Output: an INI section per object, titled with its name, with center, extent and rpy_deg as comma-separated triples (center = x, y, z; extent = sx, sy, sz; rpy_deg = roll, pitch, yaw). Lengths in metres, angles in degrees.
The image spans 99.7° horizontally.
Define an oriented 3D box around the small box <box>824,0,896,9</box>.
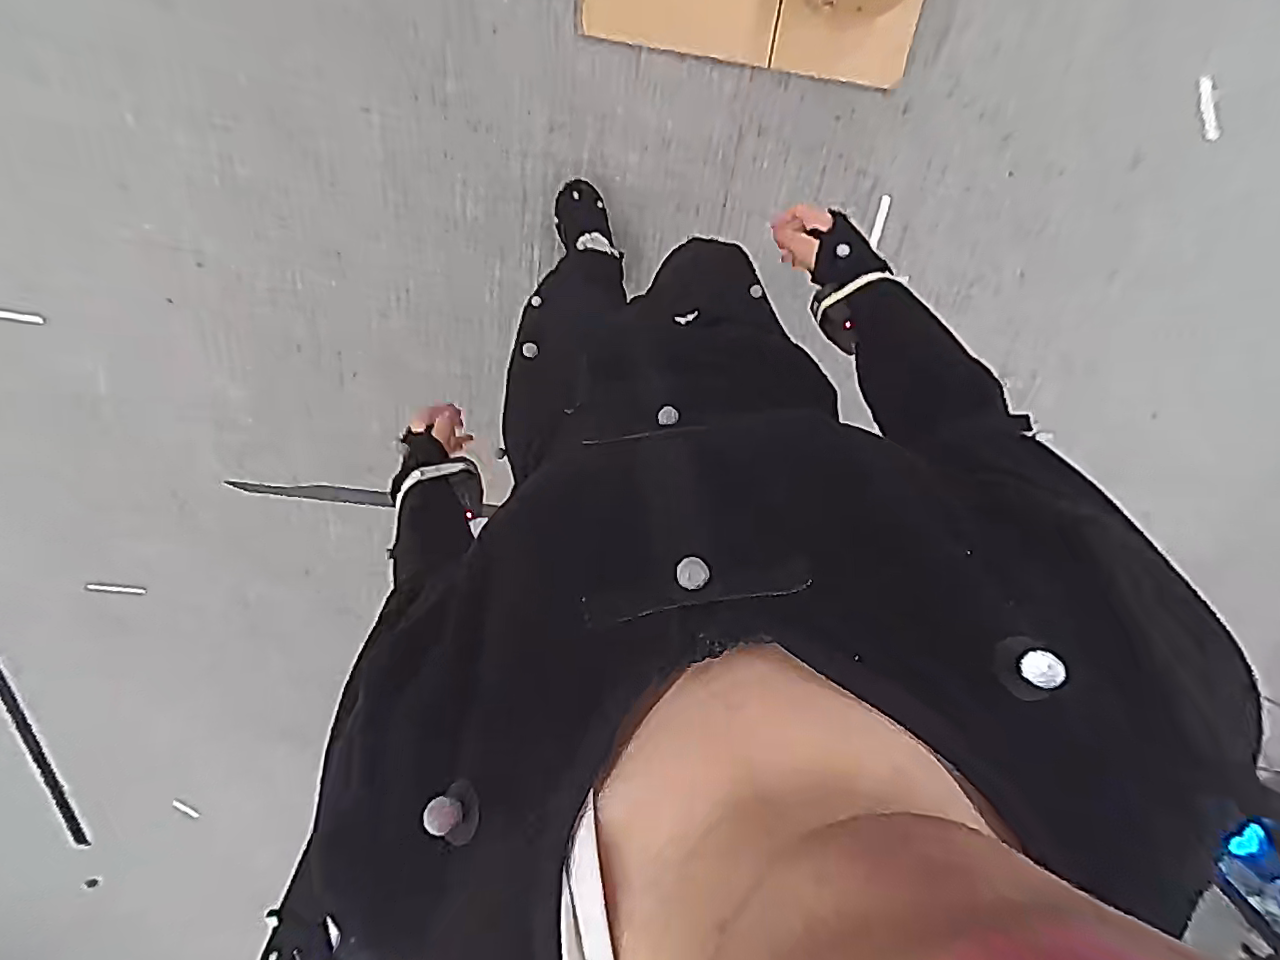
[small box]
center = 0.436, -1.006, 0.995
extent = 0.168, 0.176, 0.179
rpy_deg = 2, 117, -6
